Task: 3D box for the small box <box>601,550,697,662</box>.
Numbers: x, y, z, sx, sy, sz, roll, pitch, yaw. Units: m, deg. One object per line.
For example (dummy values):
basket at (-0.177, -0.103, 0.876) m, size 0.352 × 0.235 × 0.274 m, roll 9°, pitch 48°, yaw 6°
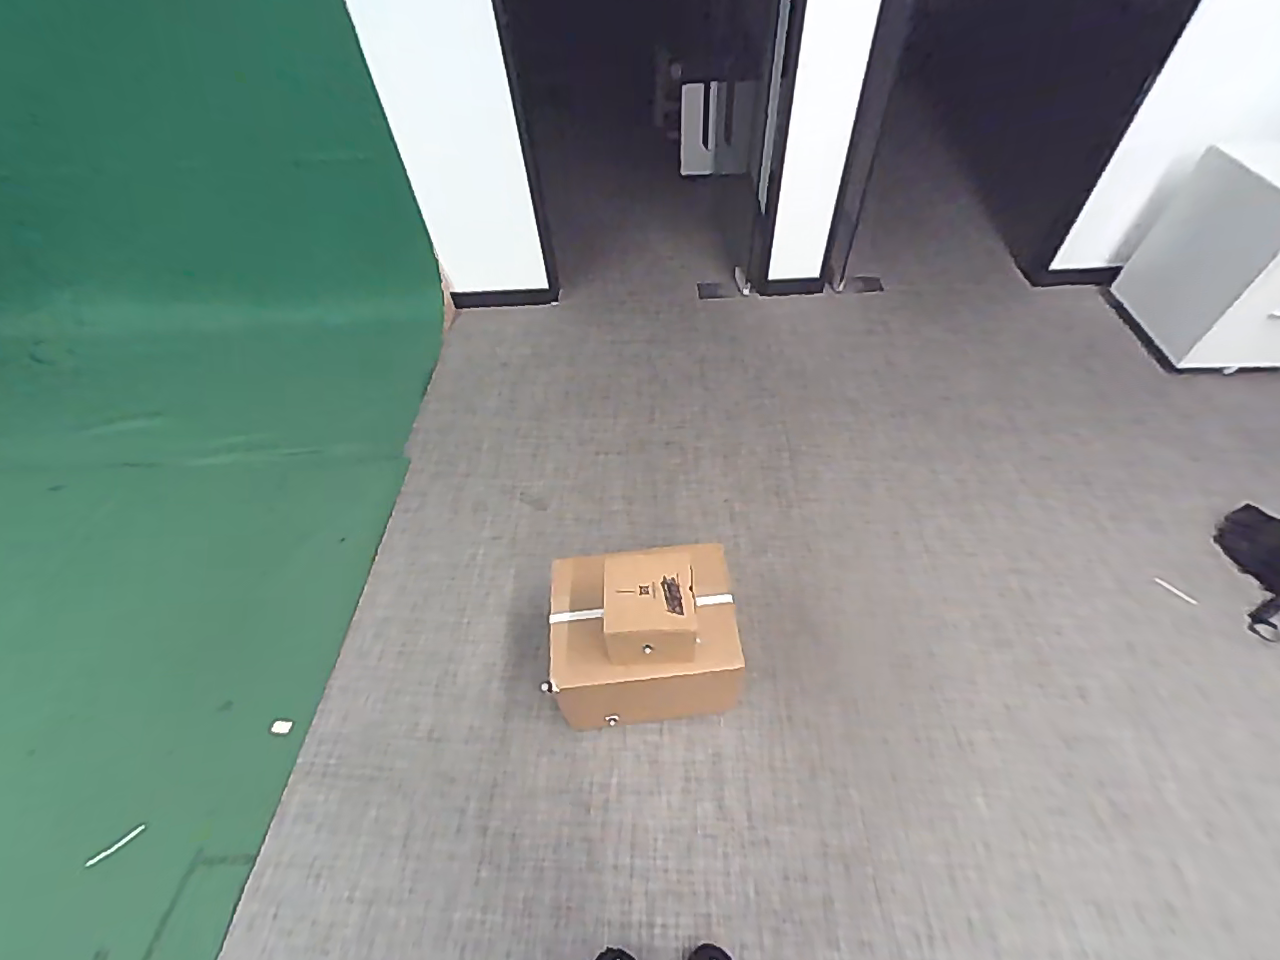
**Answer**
small box at (0.014, 0.259, 1.101) m, size 0.179 × 0.176 × 0.168 m, roll -4°, pitch 53°, yaw -2°
